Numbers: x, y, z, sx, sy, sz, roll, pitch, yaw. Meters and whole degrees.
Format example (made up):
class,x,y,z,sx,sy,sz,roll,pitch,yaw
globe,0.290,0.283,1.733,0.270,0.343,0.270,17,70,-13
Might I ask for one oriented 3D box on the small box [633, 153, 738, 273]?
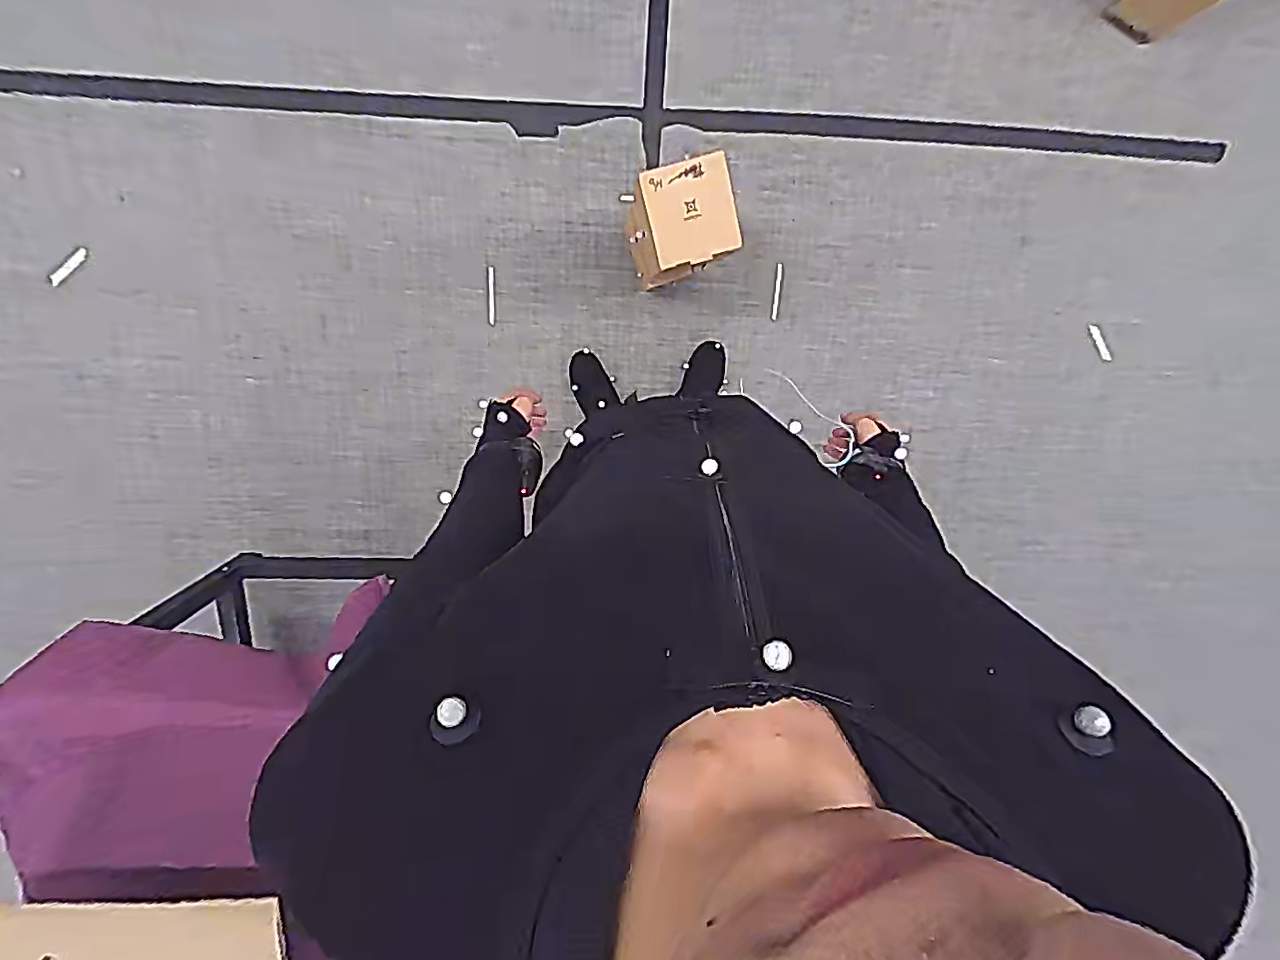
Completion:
class,x,y,z,sx,sy,sz,roll,pitch,yaw
small box,0.087,-0.528,1.095,0.168,0.176,0.179,-15,107,0
